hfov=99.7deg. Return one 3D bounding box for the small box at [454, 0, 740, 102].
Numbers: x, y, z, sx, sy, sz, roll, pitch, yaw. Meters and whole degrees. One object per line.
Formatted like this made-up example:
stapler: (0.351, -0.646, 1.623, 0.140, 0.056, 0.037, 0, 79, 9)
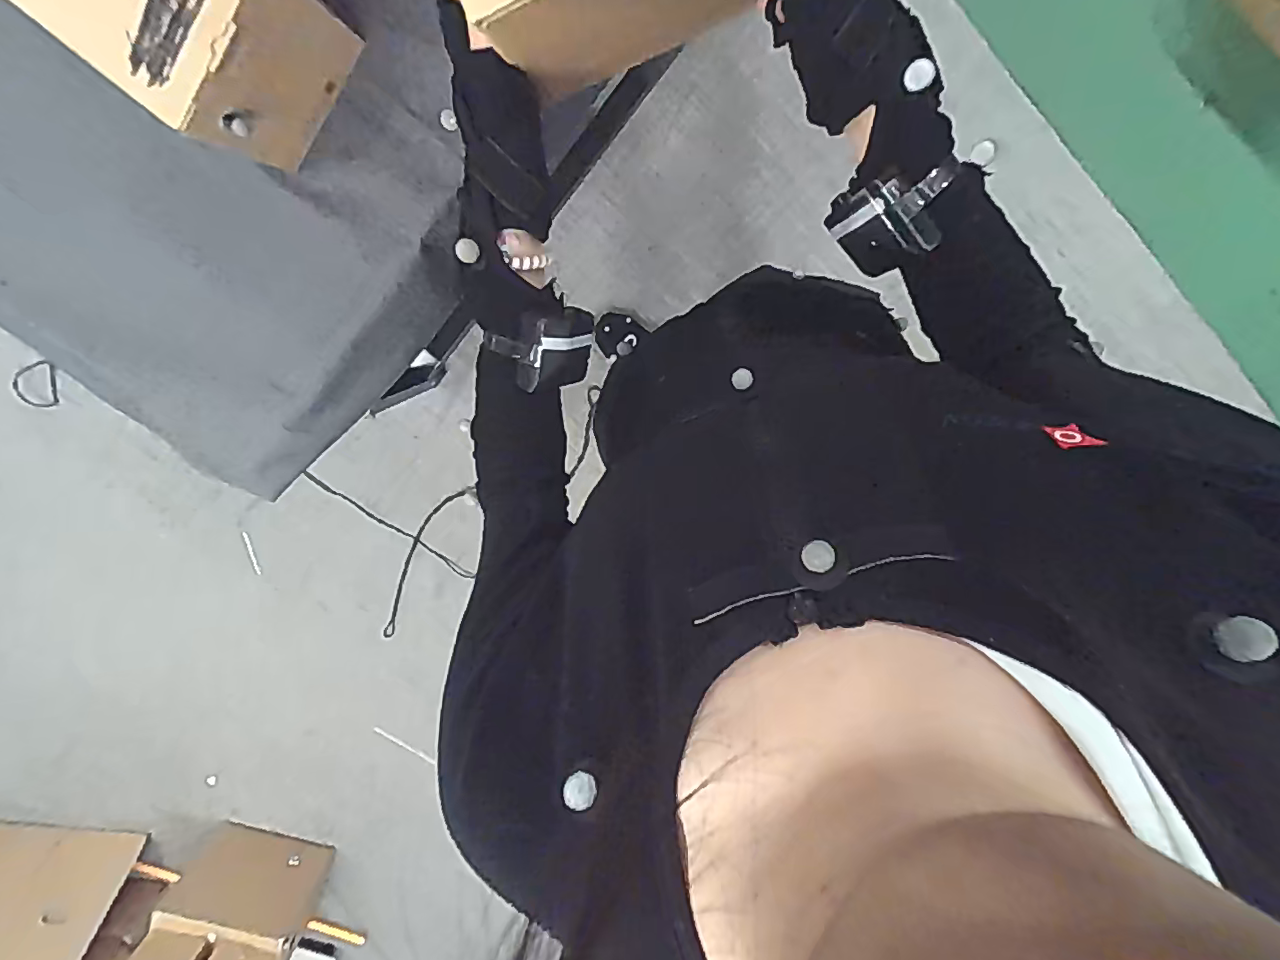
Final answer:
small box: (-0.031, -0.351, 0.300, 0.179, 0.176, 0.168, -20, 110, 9)
